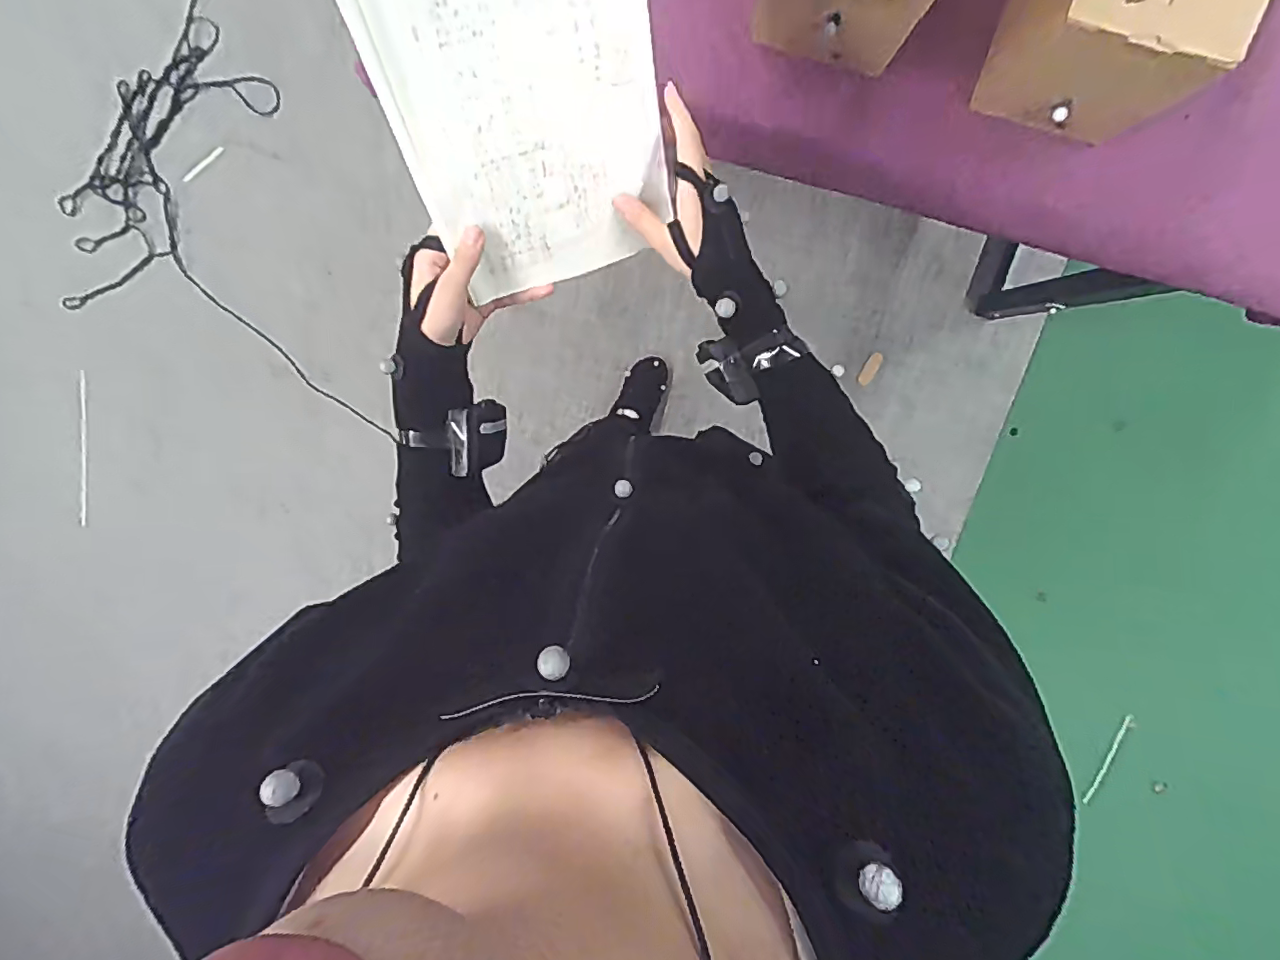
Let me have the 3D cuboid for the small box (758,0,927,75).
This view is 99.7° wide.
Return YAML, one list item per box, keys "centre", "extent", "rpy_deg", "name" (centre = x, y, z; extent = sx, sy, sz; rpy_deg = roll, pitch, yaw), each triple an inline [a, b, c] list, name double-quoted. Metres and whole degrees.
- centre: [0.231, -0.573, 0.564]
  extent: [0.168, 0.176, 0.179]
  rpy_deg: [16, 102, 0]
  name: "small box"
